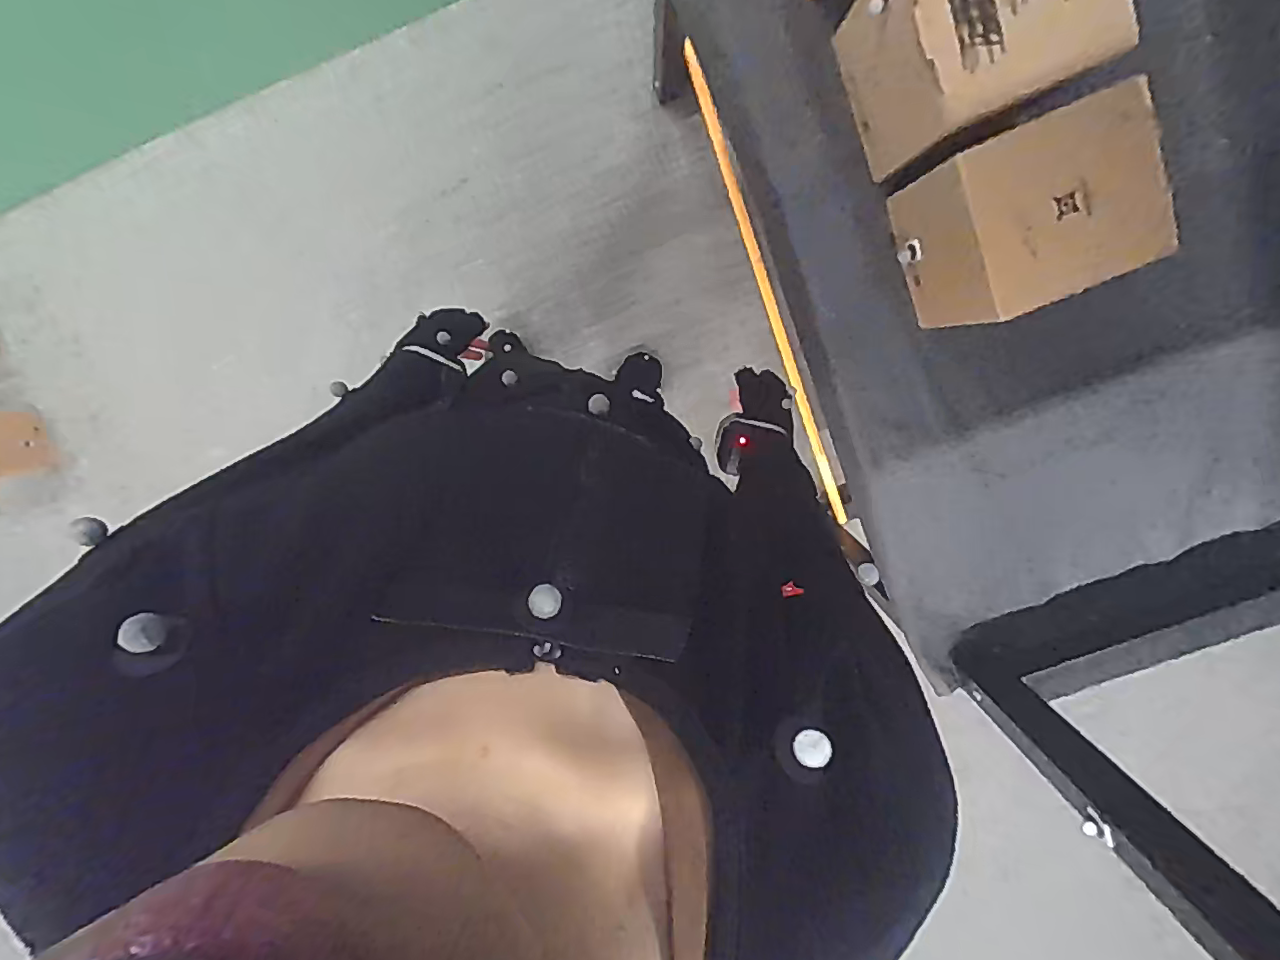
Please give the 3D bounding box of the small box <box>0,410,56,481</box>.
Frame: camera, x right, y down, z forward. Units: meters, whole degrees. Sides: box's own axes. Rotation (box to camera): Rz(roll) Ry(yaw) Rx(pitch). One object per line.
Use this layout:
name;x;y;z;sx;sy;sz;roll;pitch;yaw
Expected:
small box;-1.703;-0.077;1.397;0.179;0.176;0.168;-14;102;3
